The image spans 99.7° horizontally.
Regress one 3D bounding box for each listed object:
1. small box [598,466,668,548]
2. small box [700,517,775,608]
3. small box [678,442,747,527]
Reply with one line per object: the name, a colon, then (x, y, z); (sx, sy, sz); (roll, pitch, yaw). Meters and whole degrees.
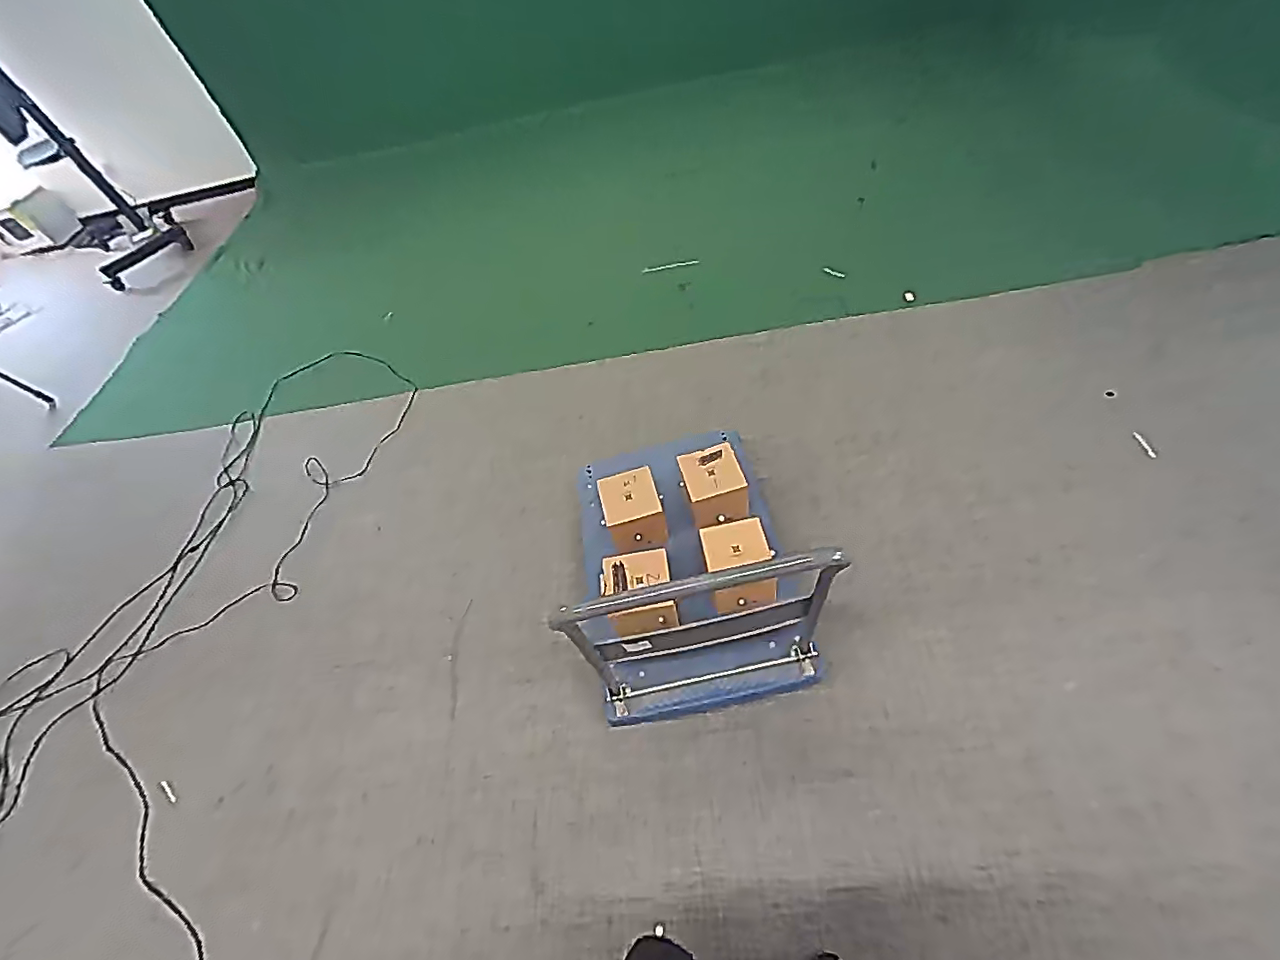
small box: (-0.019, 0.090, 1.656); (0.168, 0.176, 0.179); (-16, 52, 0)
small box: (0.266, 0.230, 1.492); (0.168, 0.176, 0.179); (-12, 53, 3)
small box: (0.222, 0.018, 1.656); (0.168, 0.176, 0.179); (-17, 53, 1)
